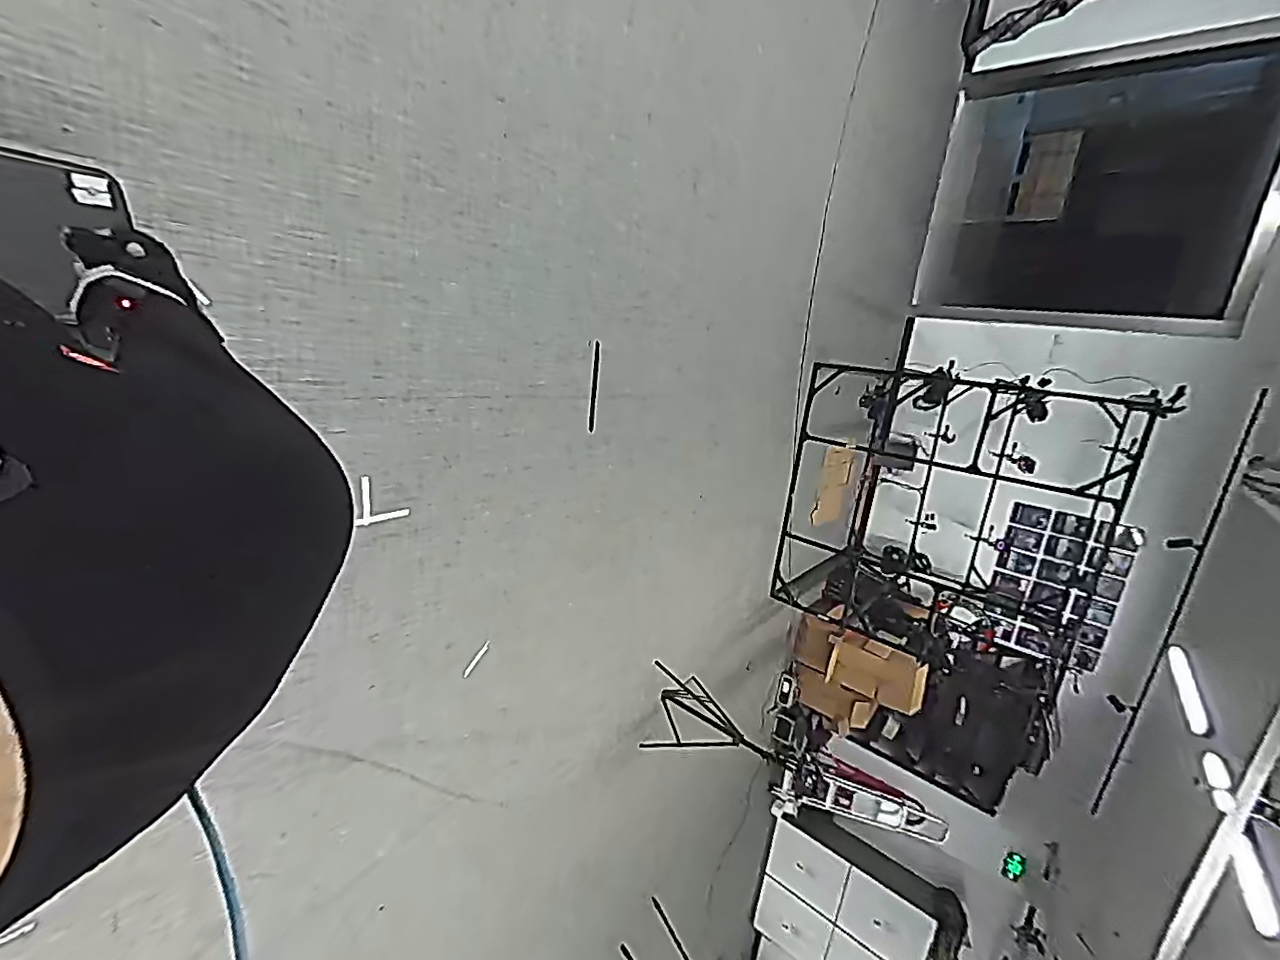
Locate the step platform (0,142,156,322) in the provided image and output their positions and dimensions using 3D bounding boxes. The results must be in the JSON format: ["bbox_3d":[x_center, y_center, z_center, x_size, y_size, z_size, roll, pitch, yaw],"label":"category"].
[{"bbox_3d":[-1.221,-0.421,0.850,0.684,0.204,0.286,-14,115,-51],"label":"step platform"}]
